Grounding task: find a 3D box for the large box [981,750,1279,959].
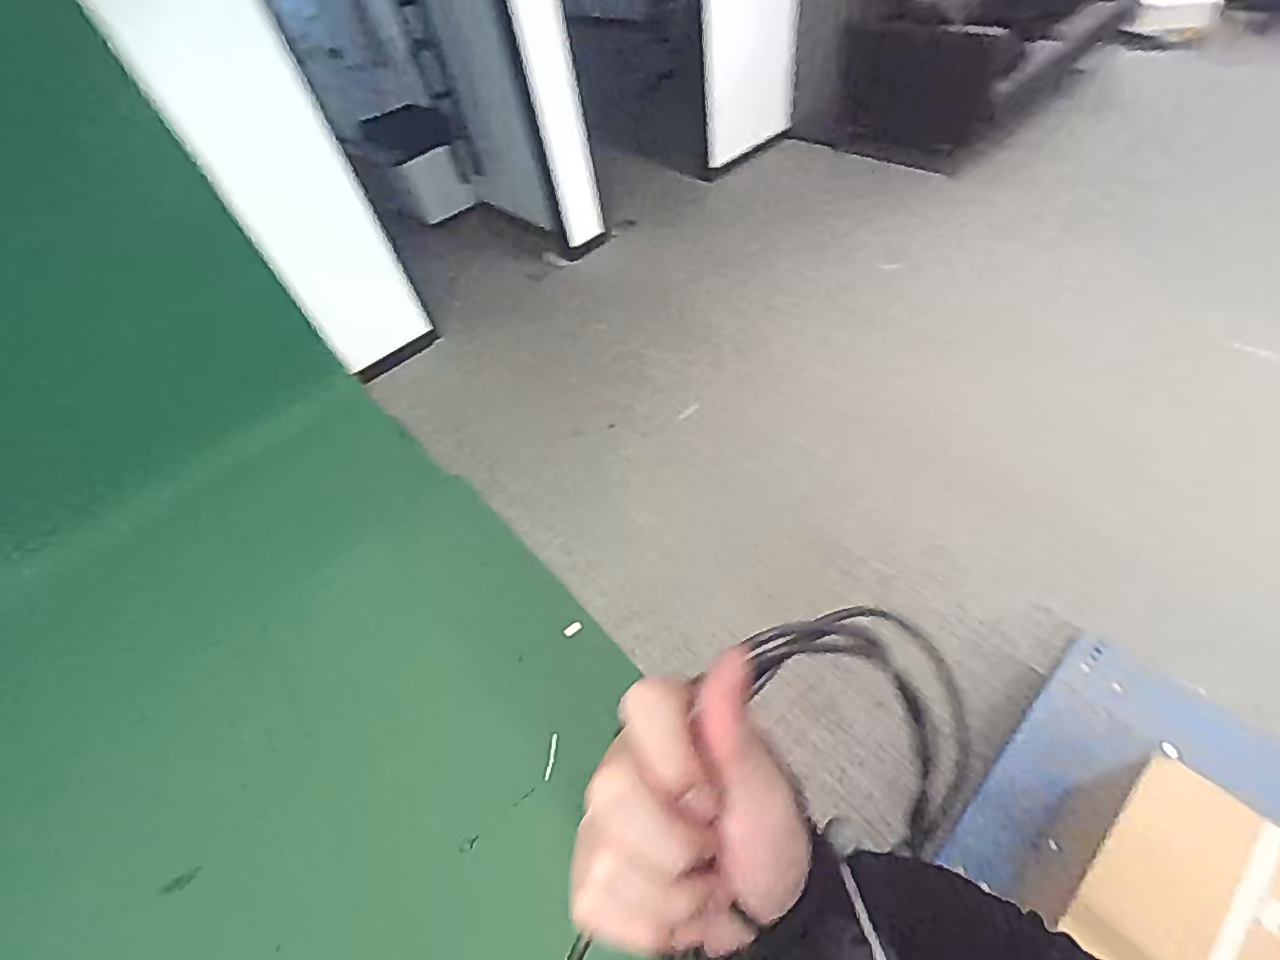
[{"bbox_3d":[0.867,0.764,0.913,0.408,0.320,0.320,-38,54,-21],"label":"large box"}]
